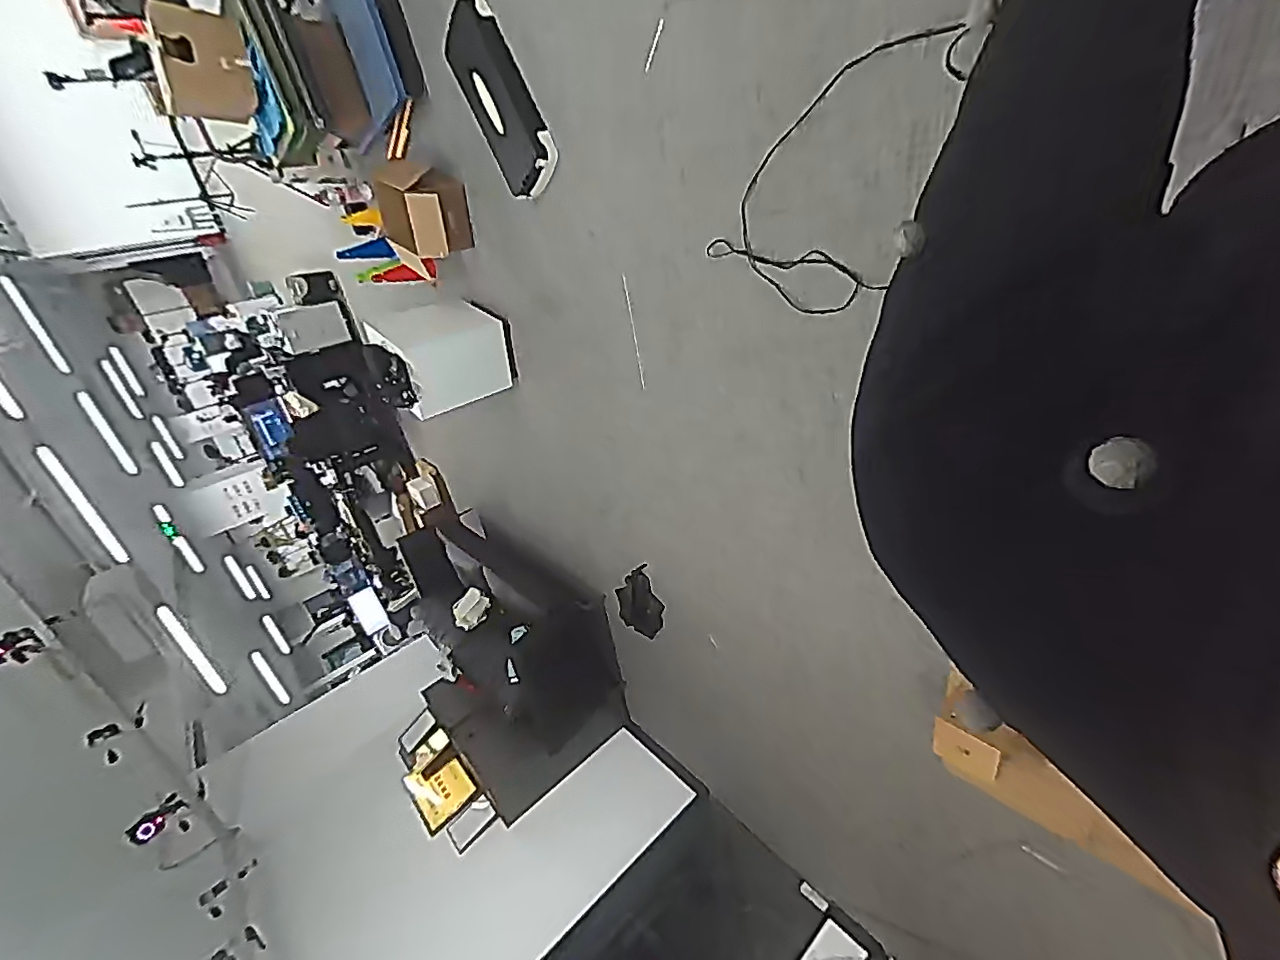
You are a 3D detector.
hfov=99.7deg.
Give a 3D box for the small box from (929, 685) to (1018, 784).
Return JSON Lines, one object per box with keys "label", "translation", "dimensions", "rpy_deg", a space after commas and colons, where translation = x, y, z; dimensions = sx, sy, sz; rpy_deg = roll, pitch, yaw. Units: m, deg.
{"label": "small box", "translation": [0.994, 0.749, 1.613], "dimensions": [0.179, 0.176, 0.168], "rpy_deg": [22, 131, 47]}
